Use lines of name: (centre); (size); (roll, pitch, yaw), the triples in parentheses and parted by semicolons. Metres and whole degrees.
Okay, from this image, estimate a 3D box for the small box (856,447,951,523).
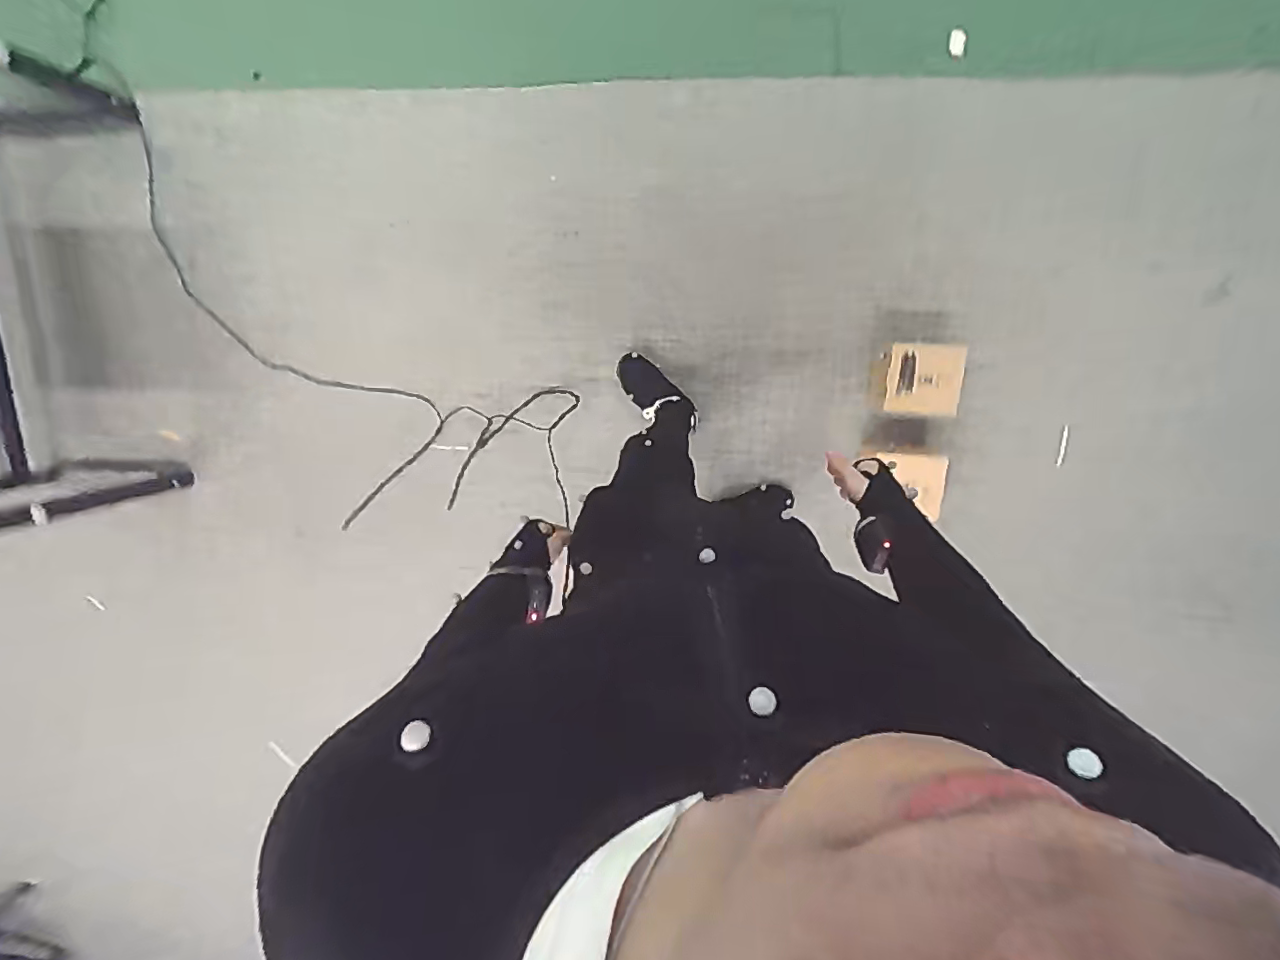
small box: (0.690, 0.008, 1.441); (0.179, 0.176, 0.168); (4, 102, 7)
